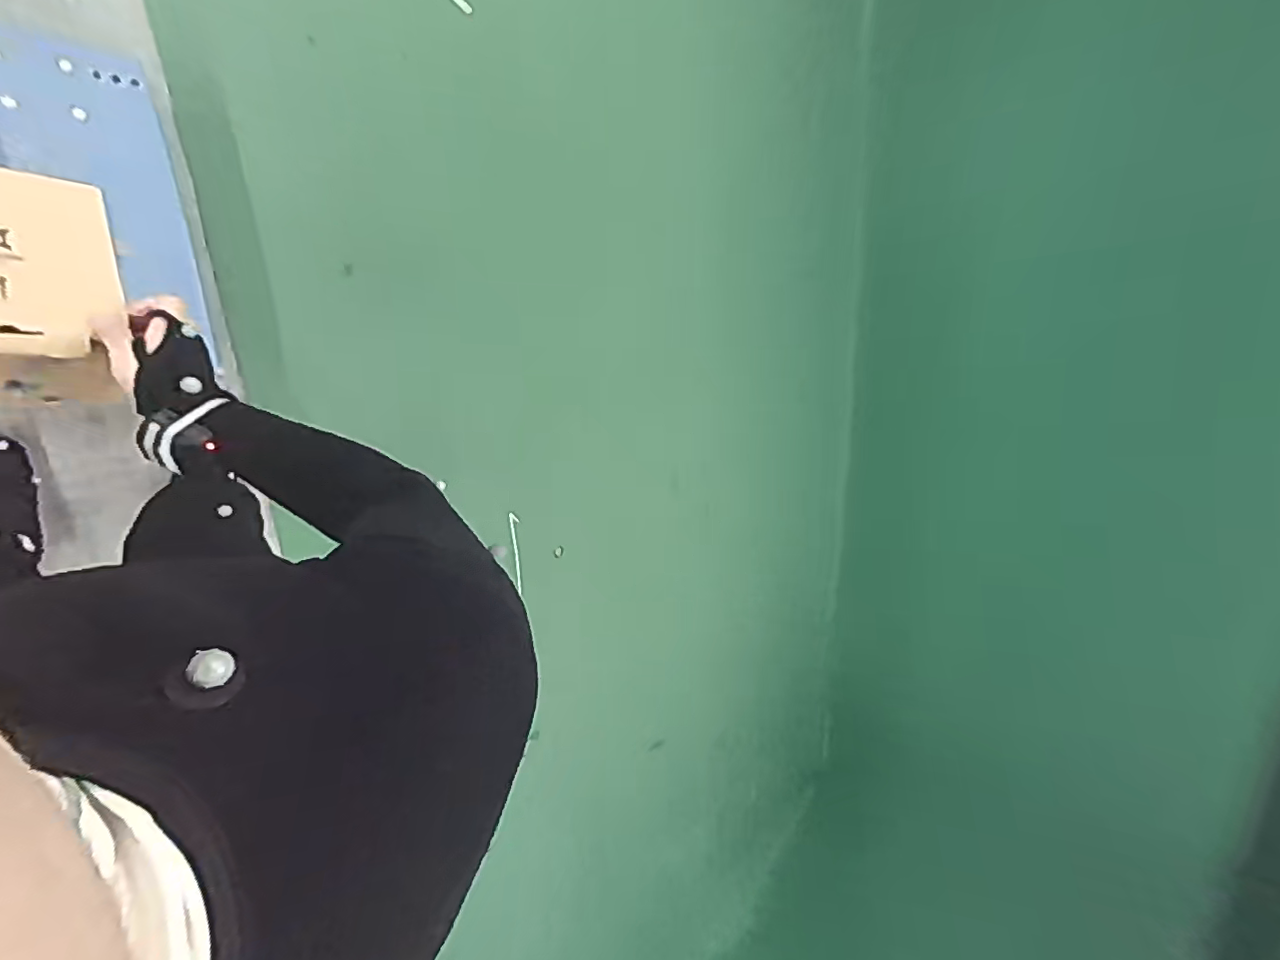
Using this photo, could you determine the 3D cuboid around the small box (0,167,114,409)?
[{"bbox_3d":[-0.638,-0.186,0.534,0.168,0.176,0.179,-2,76,-45],"label":"small box"}]
